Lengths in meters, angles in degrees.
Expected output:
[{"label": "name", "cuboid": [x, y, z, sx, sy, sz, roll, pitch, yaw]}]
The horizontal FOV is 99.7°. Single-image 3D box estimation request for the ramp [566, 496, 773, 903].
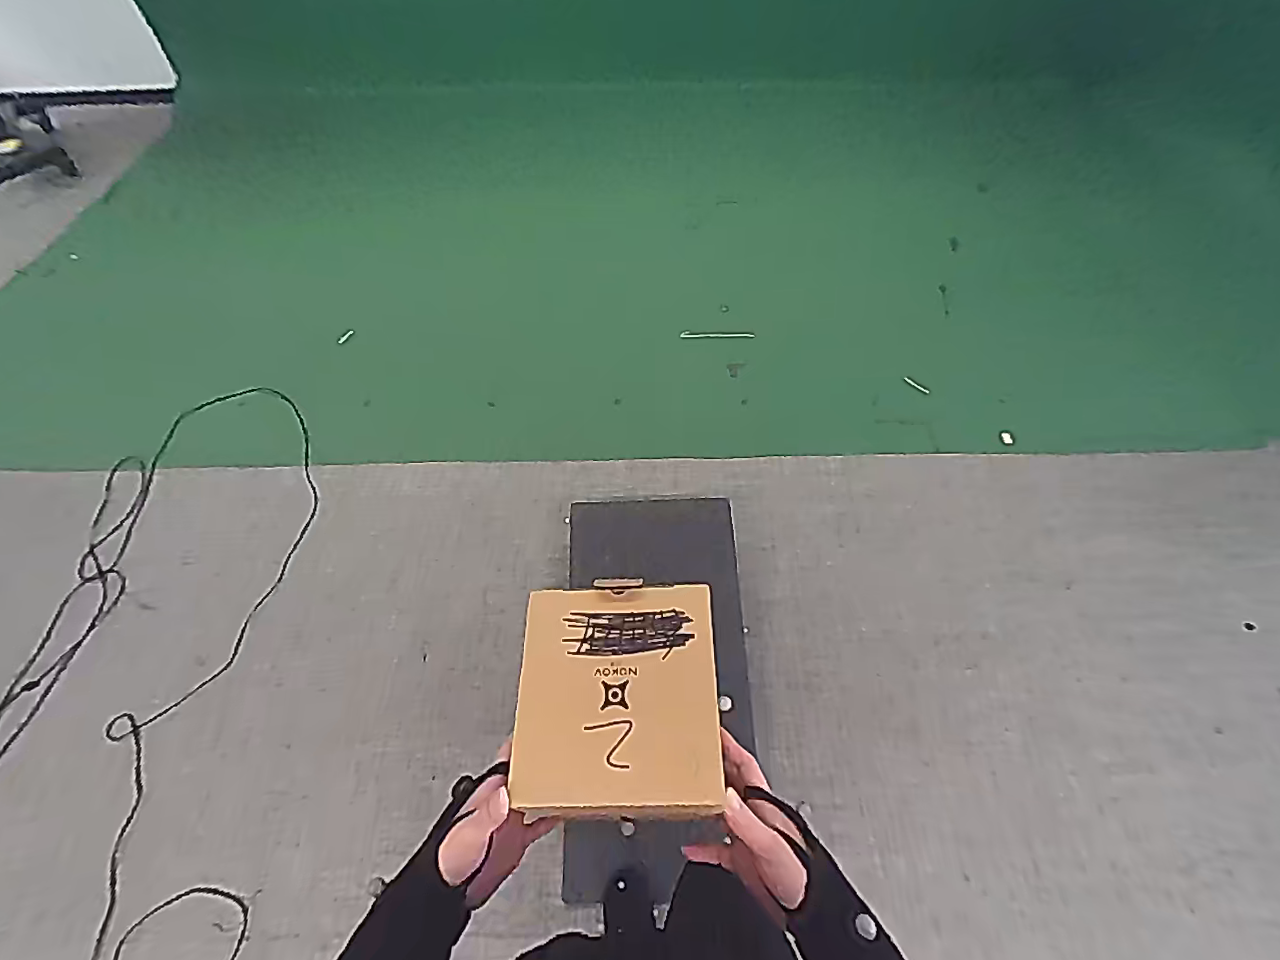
[{"label": "ramp", "cuboid": [0.055, 0.515, 1.451, 0.509, 0.206, 0.991, -3, 56, -2]}]
